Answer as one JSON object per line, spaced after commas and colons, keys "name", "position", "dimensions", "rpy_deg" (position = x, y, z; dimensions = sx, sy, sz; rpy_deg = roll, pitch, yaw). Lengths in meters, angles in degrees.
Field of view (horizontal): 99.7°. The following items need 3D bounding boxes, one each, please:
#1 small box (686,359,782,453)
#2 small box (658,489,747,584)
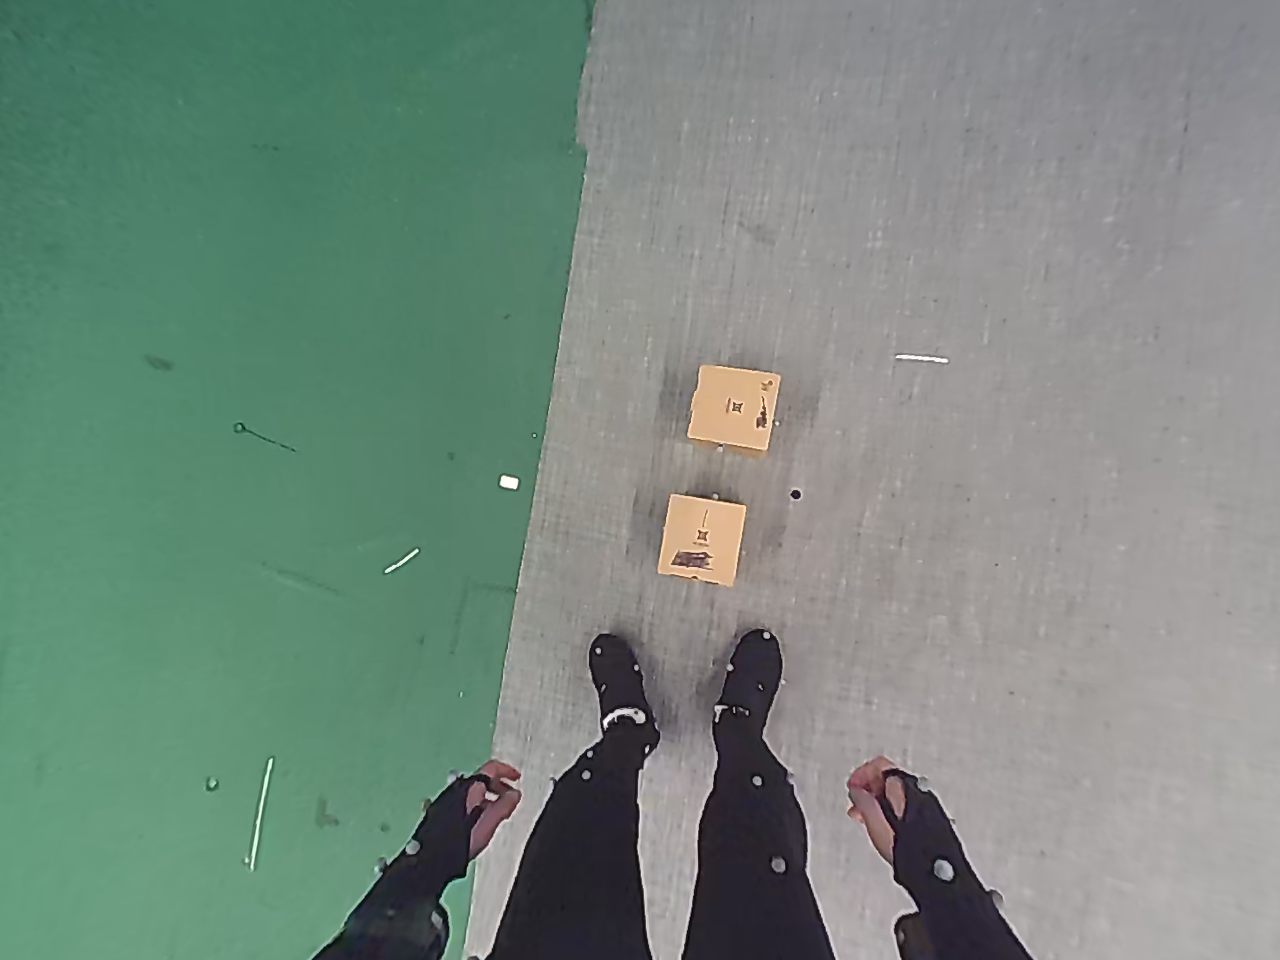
{"name": "small box", "position": [0.214, -0.160, 1.212], "dimensions": [0.179, 0.176, 0.168], "rpy_deg": [11, 89, 13]}
{"name": "small box", "position": [0.146, 0.122, 1.209], "dimensions": [0.168, 0.176, 0.179], "rpy_deg": [9, 88, 12]}
